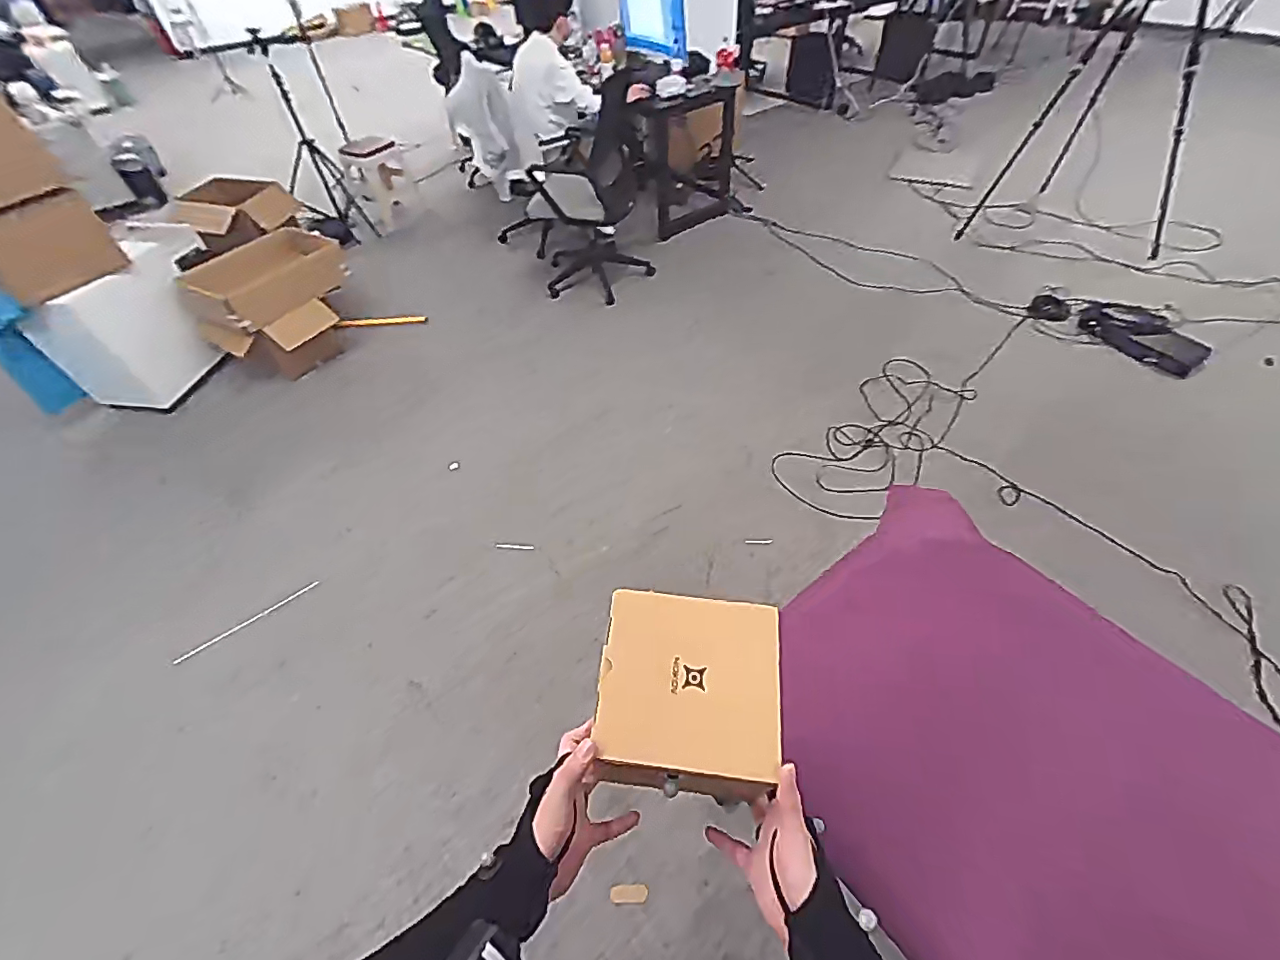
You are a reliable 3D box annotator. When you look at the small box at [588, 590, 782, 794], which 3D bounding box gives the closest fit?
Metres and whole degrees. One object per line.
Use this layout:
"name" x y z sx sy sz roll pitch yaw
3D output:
"small box" 0.050 0.237 0.591 0.179 0.176 0.168 4 56 5
